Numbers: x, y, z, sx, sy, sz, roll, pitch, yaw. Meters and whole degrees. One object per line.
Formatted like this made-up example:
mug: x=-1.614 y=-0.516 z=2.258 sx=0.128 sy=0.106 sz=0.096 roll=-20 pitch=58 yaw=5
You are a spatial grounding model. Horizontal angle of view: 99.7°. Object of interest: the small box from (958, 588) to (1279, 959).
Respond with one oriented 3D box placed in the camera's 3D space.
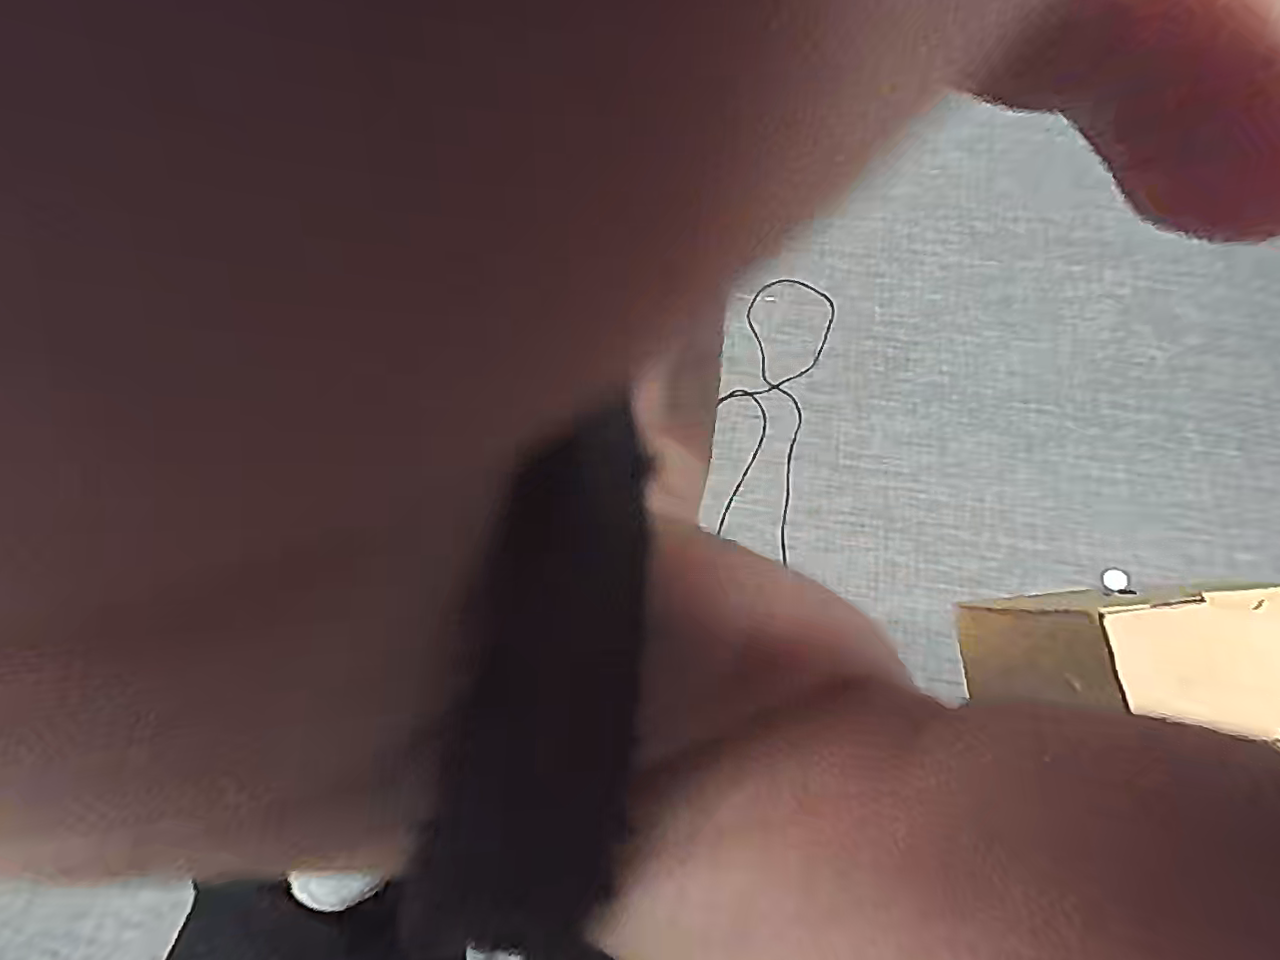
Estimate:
small box: x=0.353 y=0.170 z=0.370 sx=0.168 sy=0.176 sz=0.179 roll=-6 pitch=77 yaw=2
